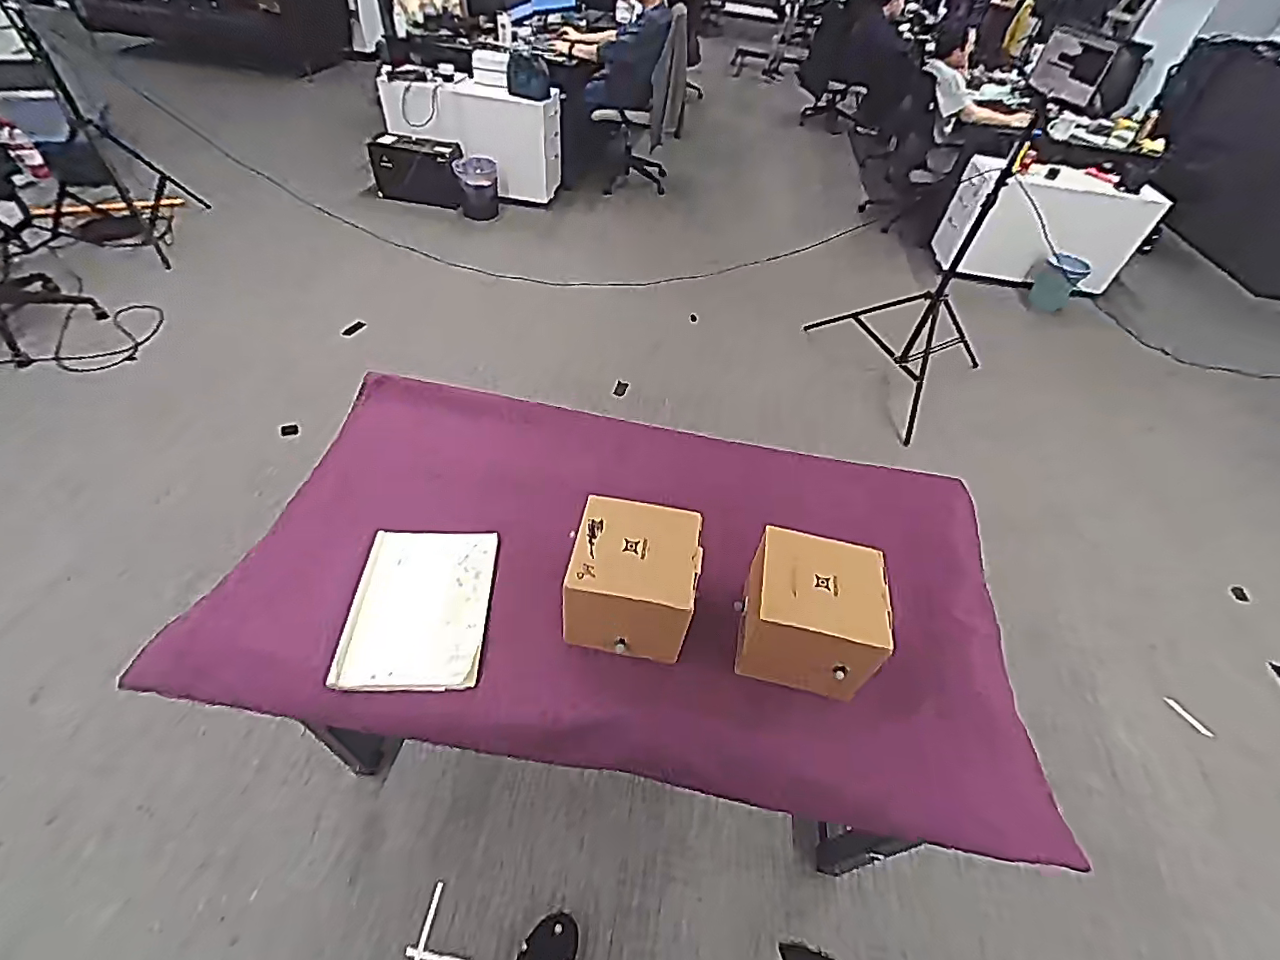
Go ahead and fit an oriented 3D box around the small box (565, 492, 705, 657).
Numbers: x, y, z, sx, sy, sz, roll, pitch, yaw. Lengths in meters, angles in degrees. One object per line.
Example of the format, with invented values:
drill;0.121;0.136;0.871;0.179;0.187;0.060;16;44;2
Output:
small box;-0.009;0.146;0.814;0.179;0.176;0.168;10;46;2

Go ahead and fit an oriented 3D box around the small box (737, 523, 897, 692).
small box;0.253;0.193;0.803;0.179;0.176;0.168;11;45;6
